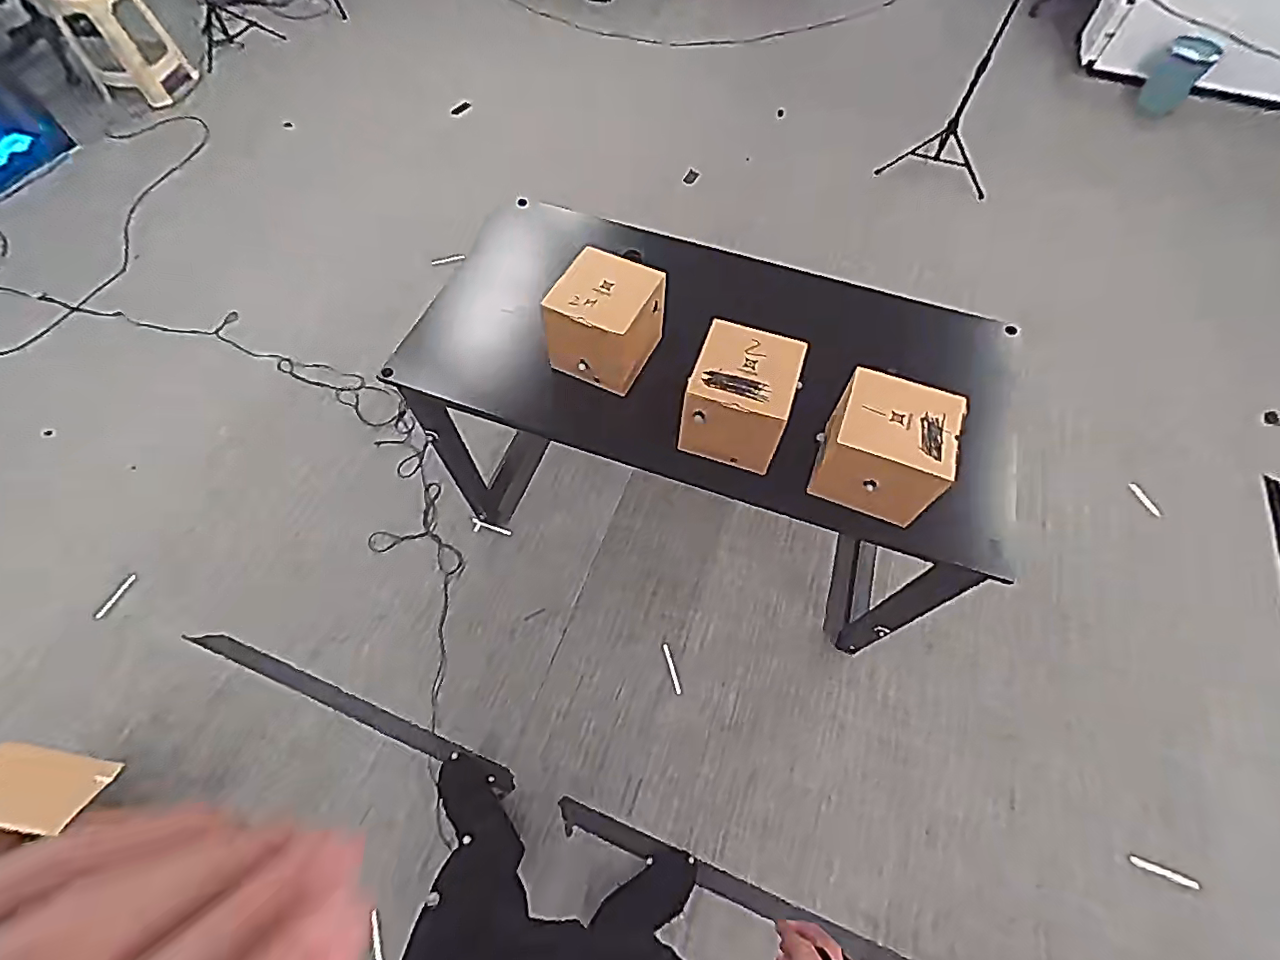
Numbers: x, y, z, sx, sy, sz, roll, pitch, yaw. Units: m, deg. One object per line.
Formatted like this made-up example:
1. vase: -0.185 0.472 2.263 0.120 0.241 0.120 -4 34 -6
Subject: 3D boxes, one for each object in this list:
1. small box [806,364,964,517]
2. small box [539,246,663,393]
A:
1. small box: 0.401 -0.058 0.902 0.179 0.176 0.168 20 63 11
2. small box: -0.070 -0.301 1.027 0.168 0.176 0.179 23 64 12
